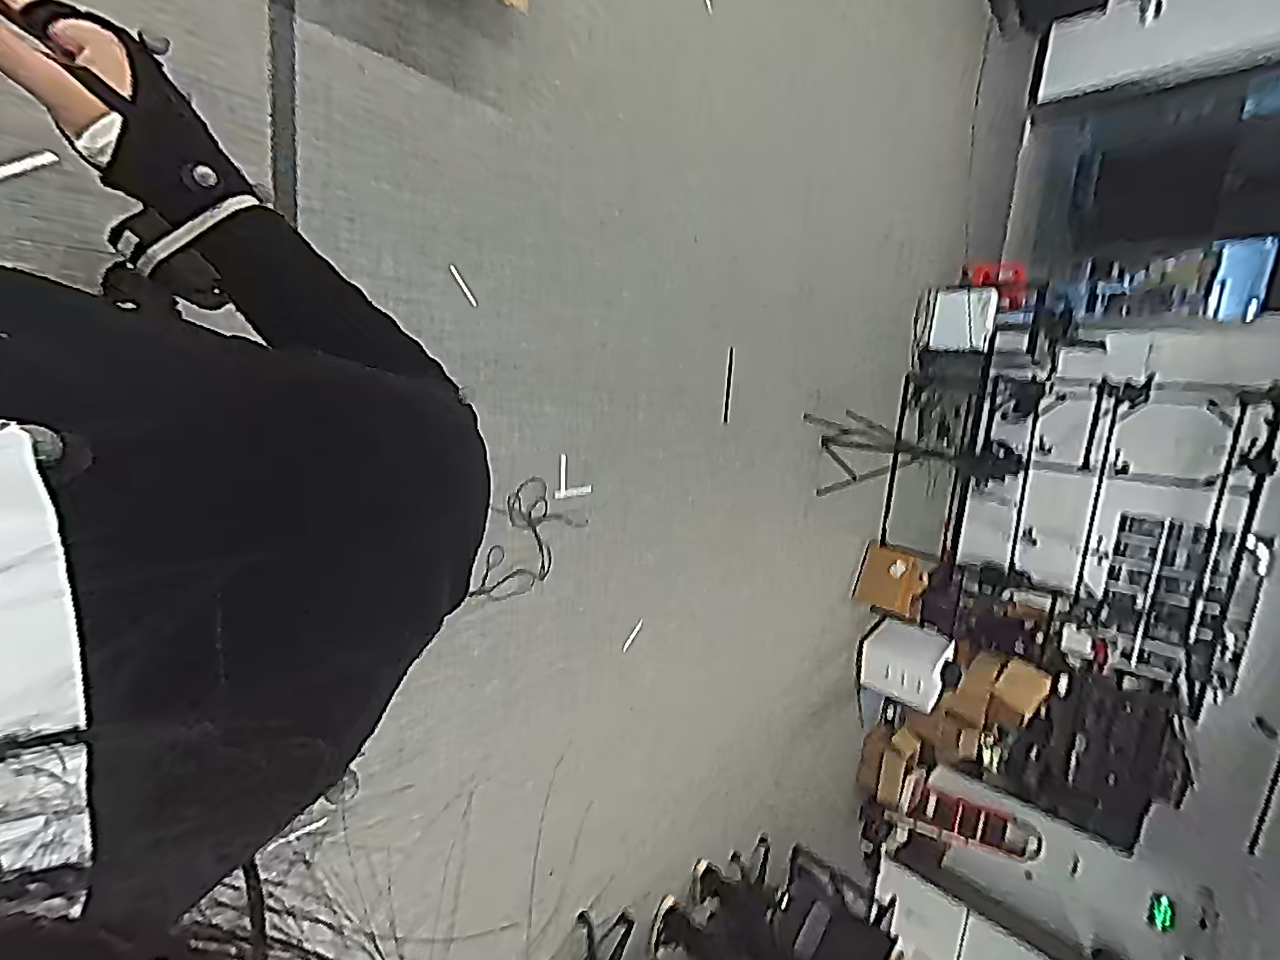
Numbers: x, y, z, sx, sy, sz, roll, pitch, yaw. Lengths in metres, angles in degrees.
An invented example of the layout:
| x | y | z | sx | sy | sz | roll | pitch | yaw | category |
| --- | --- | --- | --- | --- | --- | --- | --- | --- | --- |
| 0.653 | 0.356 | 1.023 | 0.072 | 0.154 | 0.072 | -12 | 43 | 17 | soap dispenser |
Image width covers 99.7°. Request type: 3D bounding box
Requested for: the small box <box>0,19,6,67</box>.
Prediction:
| x | y | z | sx | sy | sz | roll | pitch | yaw | category |
| --- | --- | --- | --- | --- | --- | --- | --- | --- | --- |
| -0.469 | -0.320 | 0.263 | 0.168 | 0.176 | 0.179 | -28 | 129 | -38 | small box |
